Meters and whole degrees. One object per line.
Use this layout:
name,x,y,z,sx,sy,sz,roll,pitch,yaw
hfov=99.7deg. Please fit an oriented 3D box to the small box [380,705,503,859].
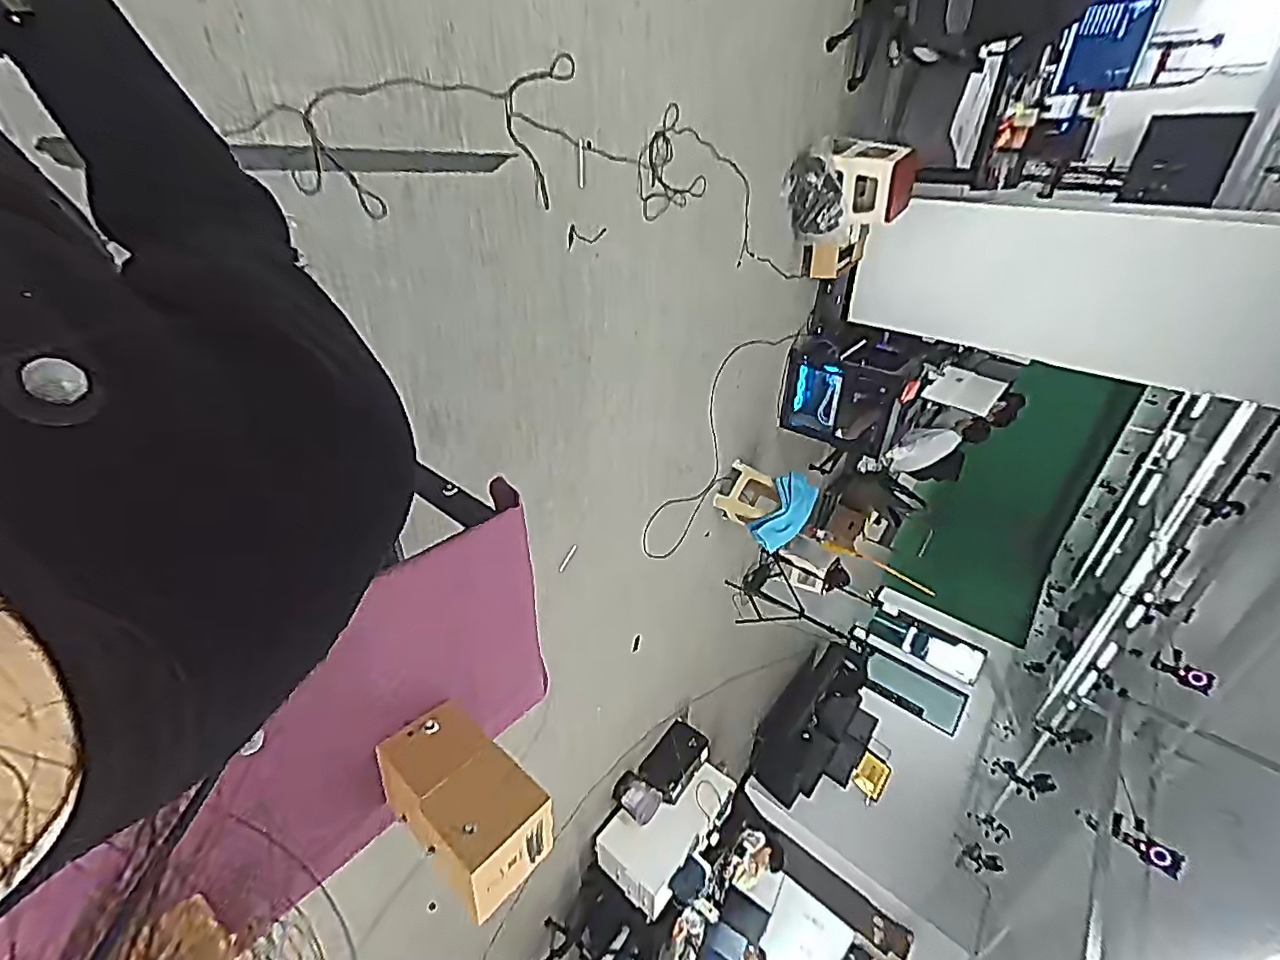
small box,-0.401,0.604,1.101,0.168,0.176,0.179,-26,128,-46

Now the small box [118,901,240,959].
small box,-0.702,0.799,0.805,0.179,0.176,0.168,-28,131,-44
